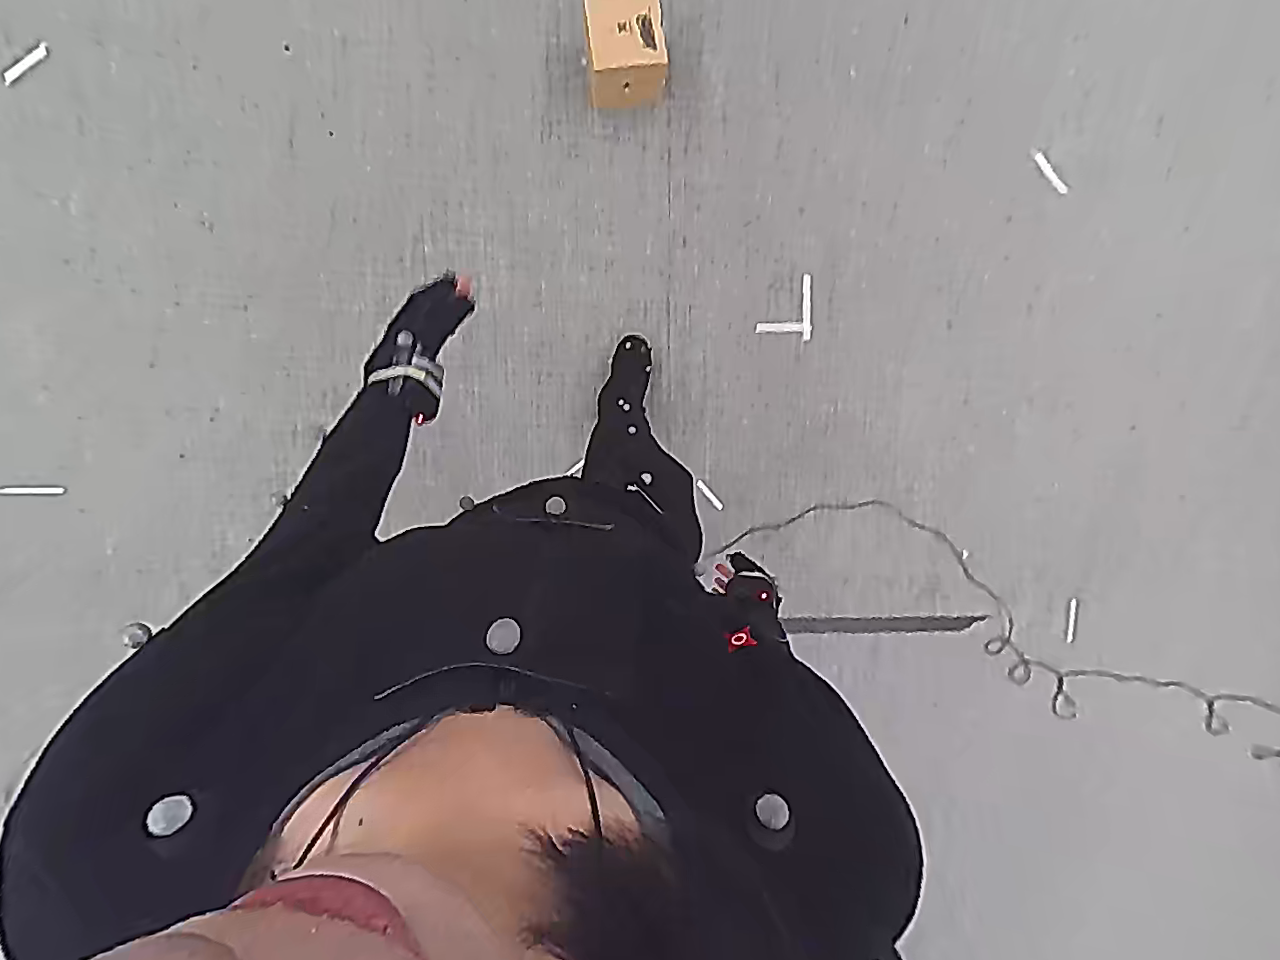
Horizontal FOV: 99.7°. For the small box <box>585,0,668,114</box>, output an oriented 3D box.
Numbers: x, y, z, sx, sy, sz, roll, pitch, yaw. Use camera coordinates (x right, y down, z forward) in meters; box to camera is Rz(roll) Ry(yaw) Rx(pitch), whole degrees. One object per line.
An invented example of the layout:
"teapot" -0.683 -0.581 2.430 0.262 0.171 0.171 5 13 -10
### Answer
"small box" -0.037 -1.024 1.309 0.179 0.176 0.168 -8 97 -3
